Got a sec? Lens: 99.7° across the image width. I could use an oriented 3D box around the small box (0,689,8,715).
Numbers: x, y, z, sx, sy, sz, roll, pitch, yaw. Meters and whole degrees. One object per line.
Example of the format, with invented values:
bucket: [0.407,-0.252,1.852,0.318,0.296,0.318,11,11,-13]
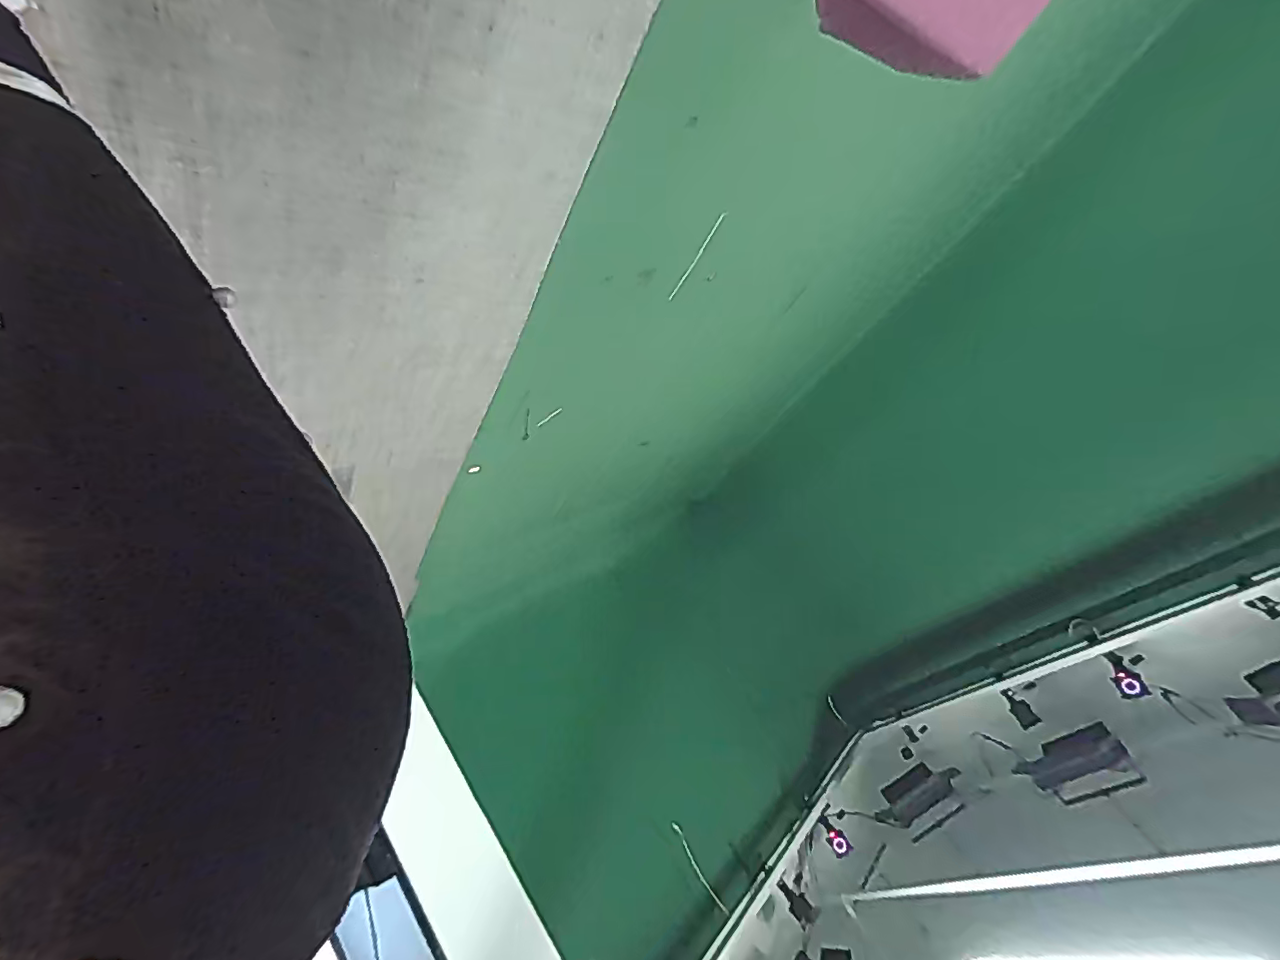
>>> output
small box: [-1.453,0.424,1.087,0.179,0.176,0.168,-23,158,-36]
